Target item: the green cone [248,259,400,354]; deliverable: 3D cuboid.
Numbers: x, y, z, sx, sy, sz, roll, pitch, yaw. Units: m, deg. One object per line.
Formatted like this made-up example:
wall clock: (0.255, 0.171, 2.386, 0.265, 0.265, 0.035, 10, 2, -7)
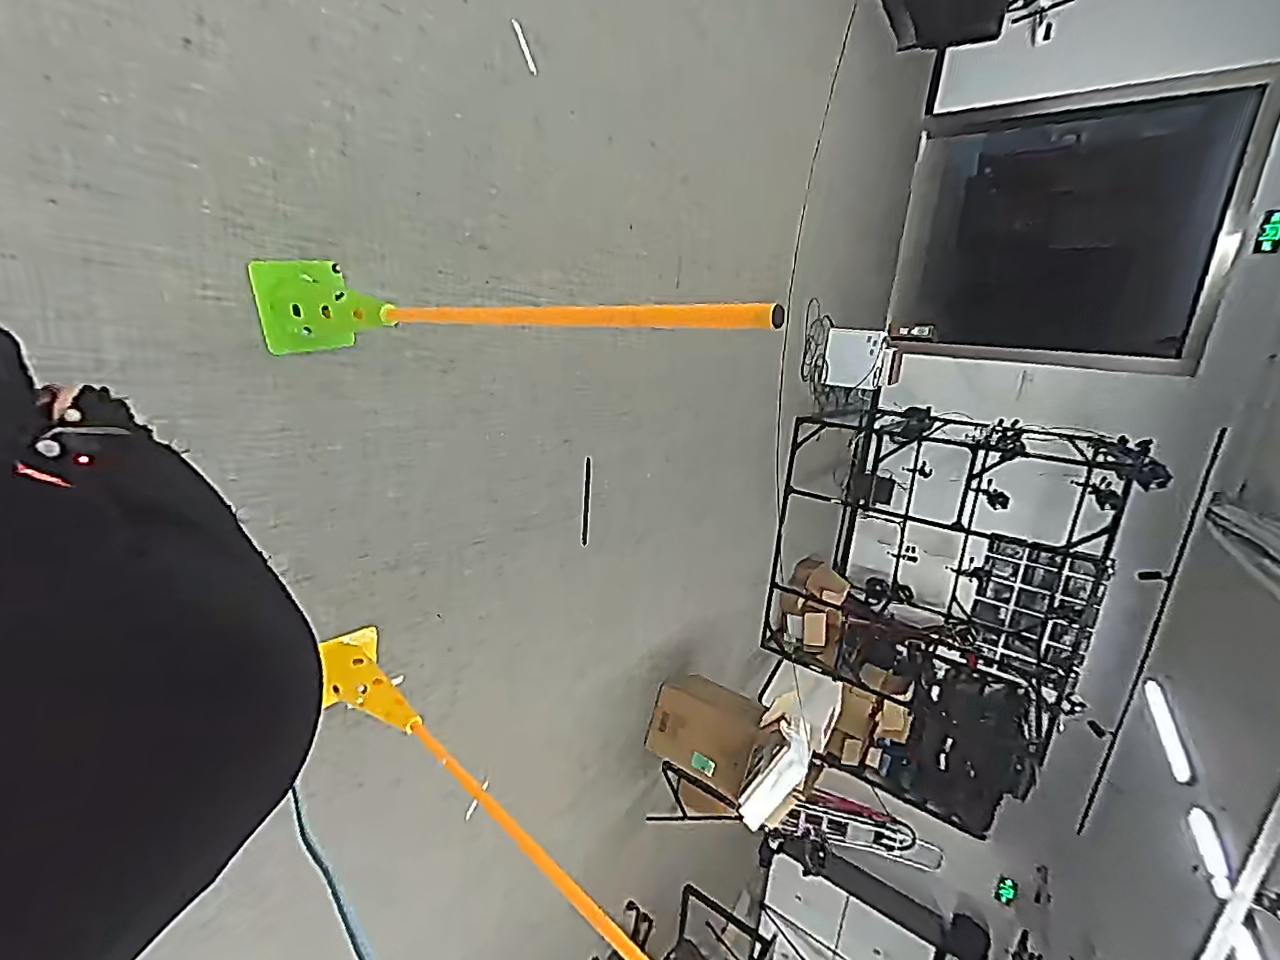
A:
green cone: (-0.639, -0.360, 1.156, 0.200, 0.368, 0.202, -28, 126, -48)
